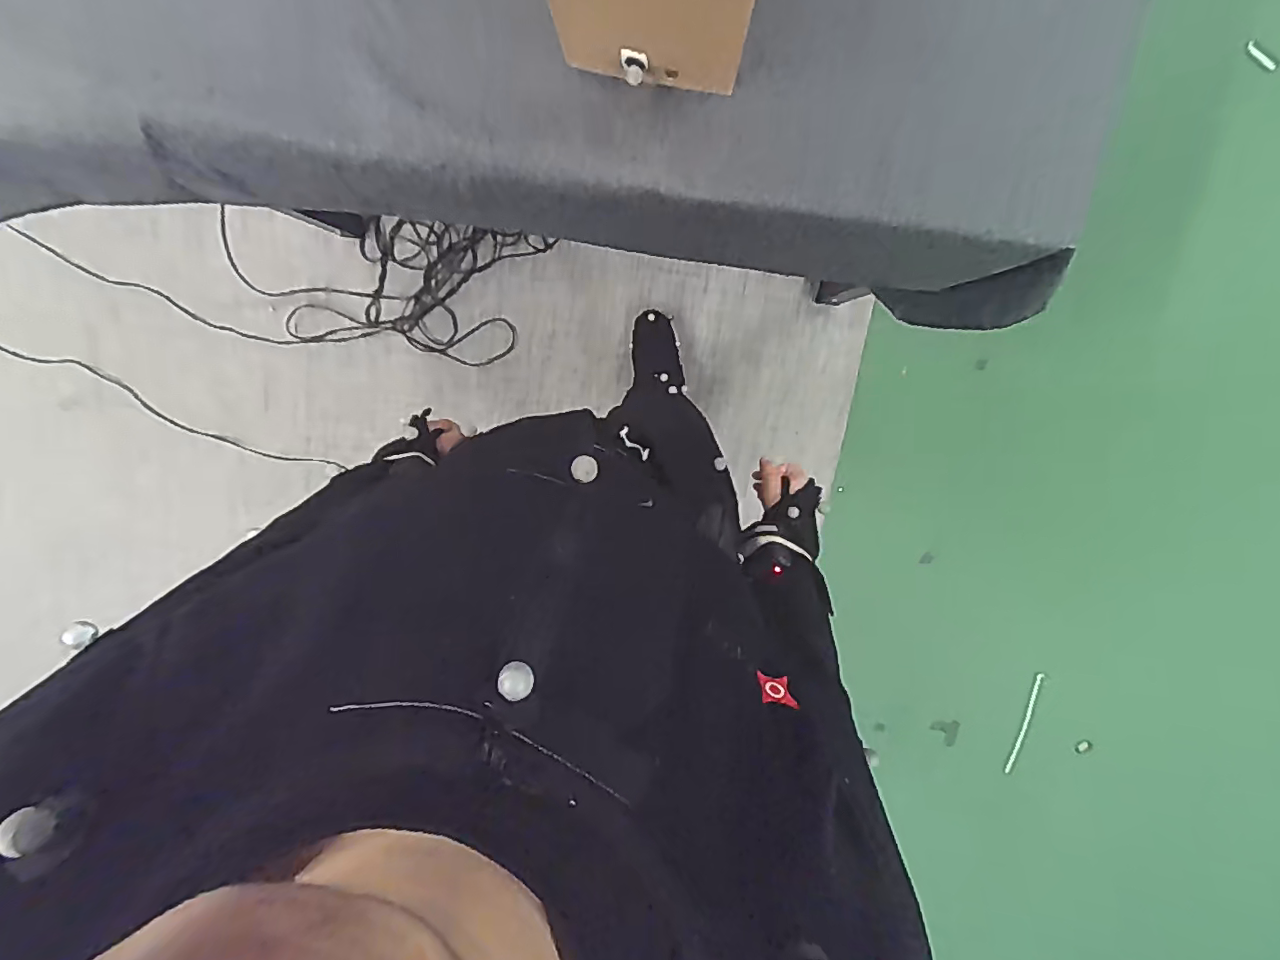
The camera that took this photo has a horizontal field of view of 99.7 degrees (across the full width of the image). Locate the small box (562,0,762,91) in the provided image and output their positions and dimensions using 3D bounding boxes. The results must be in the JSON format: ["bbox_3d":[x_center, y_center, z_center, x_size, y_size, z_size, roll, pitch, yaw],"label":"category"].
[{"bbox_3d":[0.024,-0.457,0.431,0.168,0.176,0.179,9,103,1],"label":"small box"}]
